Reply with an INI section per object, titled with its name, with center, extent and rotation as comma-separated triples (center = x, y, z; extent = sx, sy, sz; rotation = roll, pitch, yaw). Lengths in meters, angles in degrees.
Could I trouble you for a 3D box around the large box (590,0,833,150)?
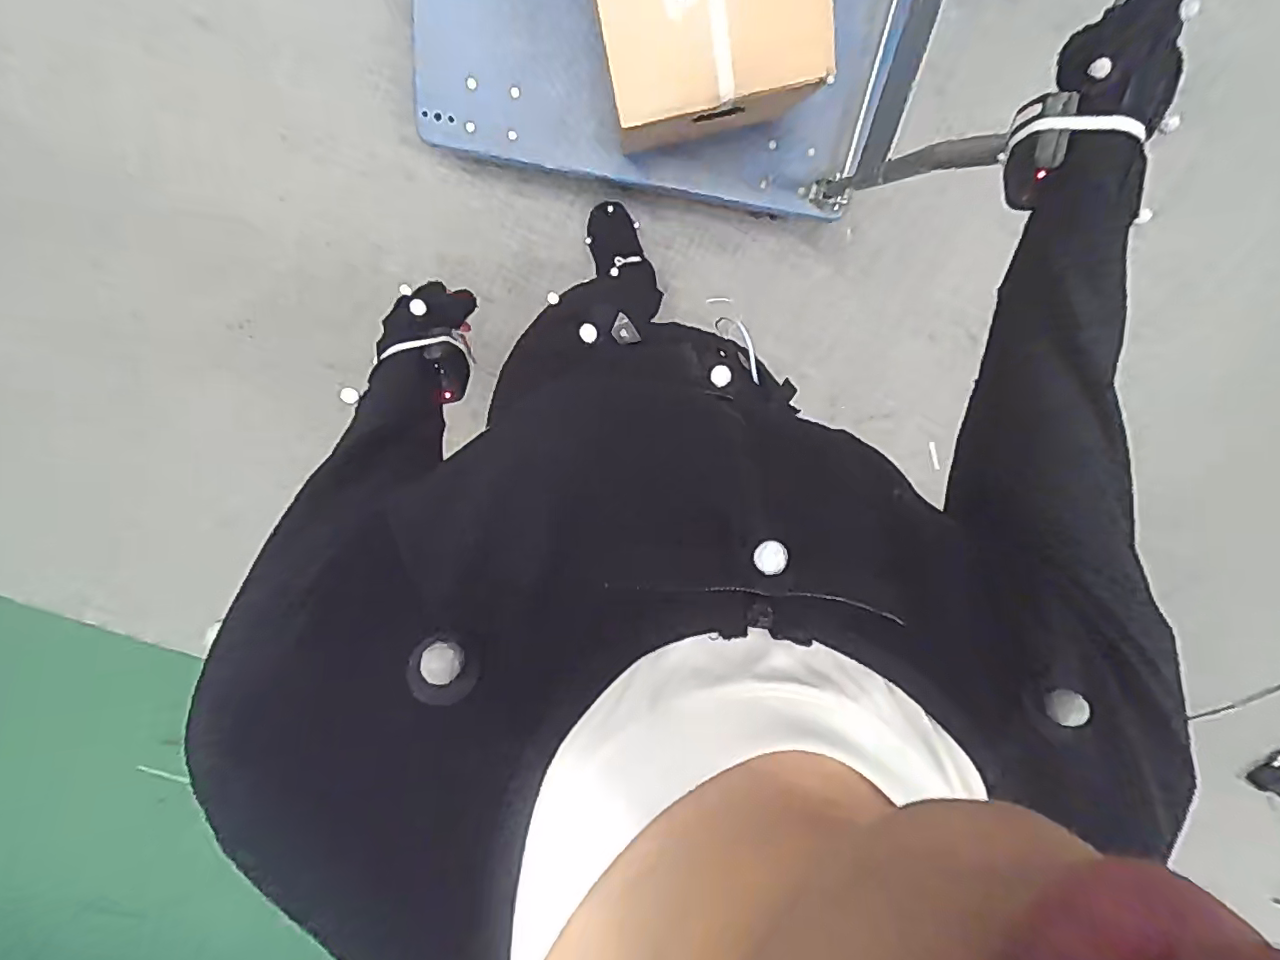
[large box]
center = 0.076, -0.786, 0.832
extent = 0.320, 0.320, 0.408
rotation = -12, 116, 5
